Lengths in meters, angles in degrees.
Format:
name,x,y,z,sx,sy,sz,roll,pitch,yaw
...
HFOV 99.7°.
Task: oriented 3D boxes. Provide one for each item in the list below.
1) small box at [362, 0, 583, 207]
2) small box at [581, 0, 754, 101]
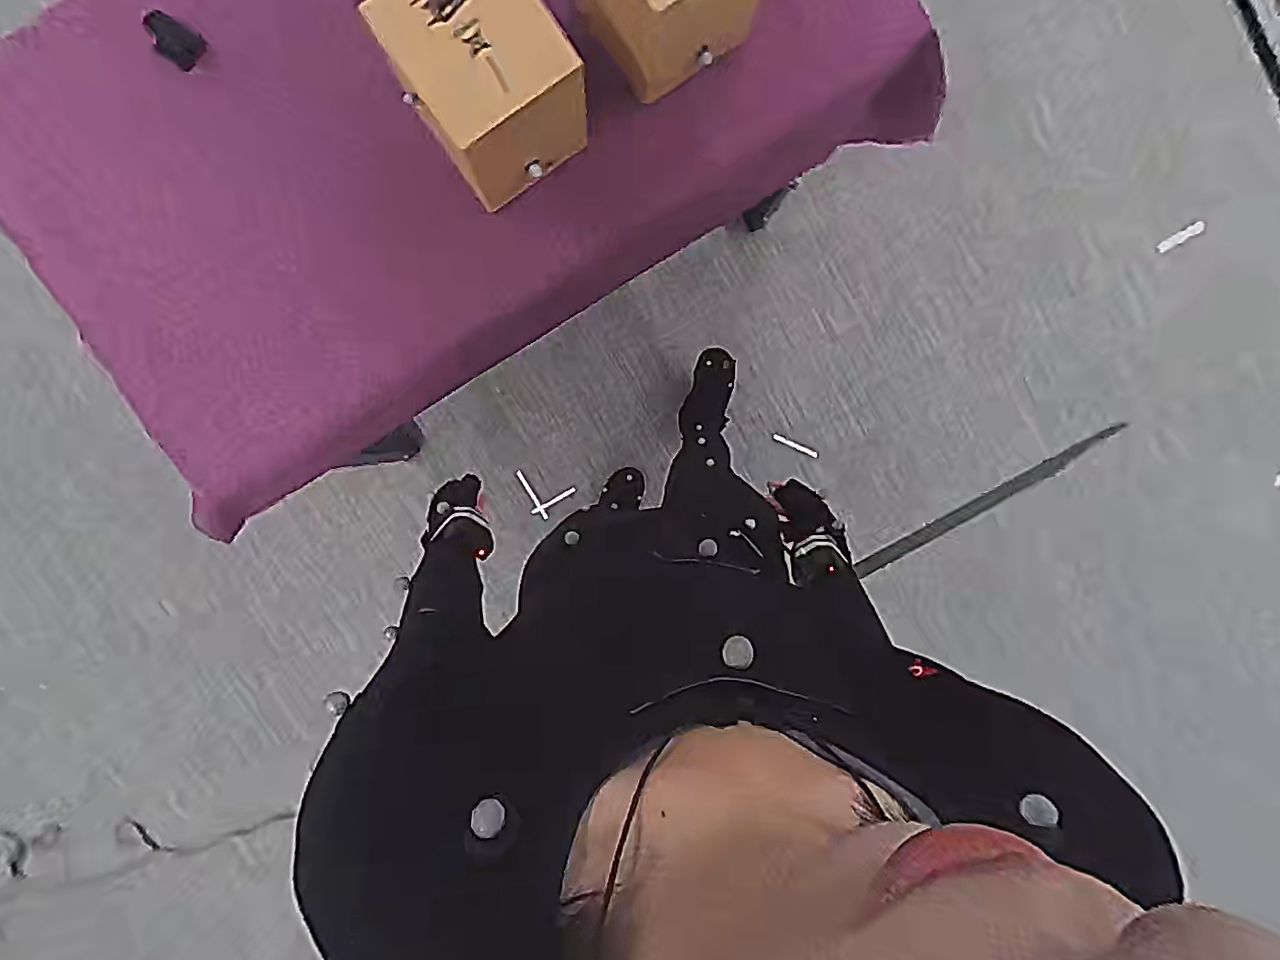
name,x,y,z,sx,sy,sz,roll,pitch,yaw
small box,-0.184,-0.475,0.652,0.168,0.176,0.179,-36,96,0
small box,0.035,-0.622,0.656,0.179,0.176,0.168,-35,95,-1
